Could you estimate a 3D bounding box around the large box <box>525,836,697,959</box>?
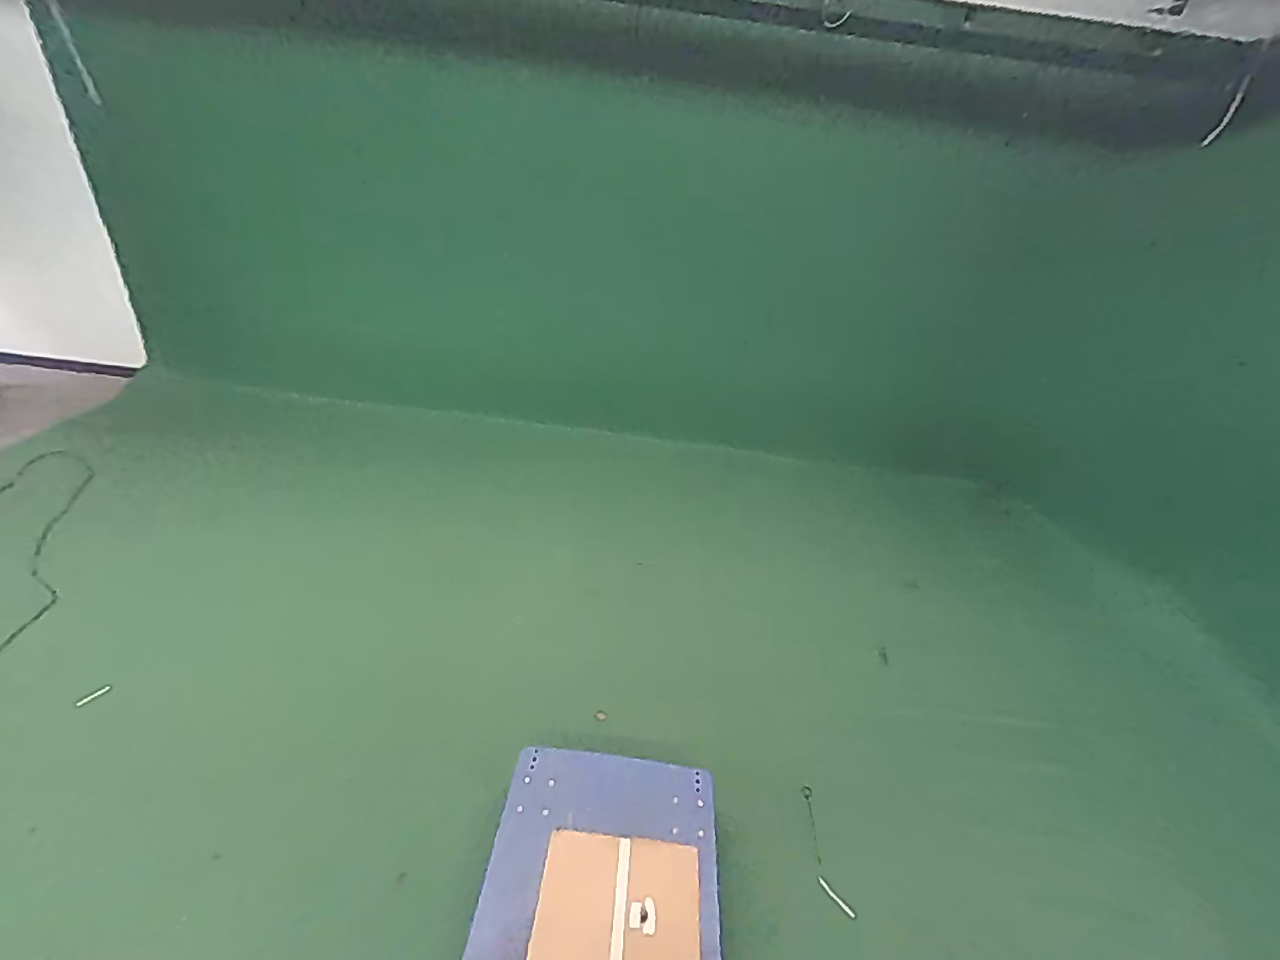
[{"bbox_3d":[-0.065,0.990,1.034,0.320,0.320,0.408,8,28,-1],"label":"large box"}]
